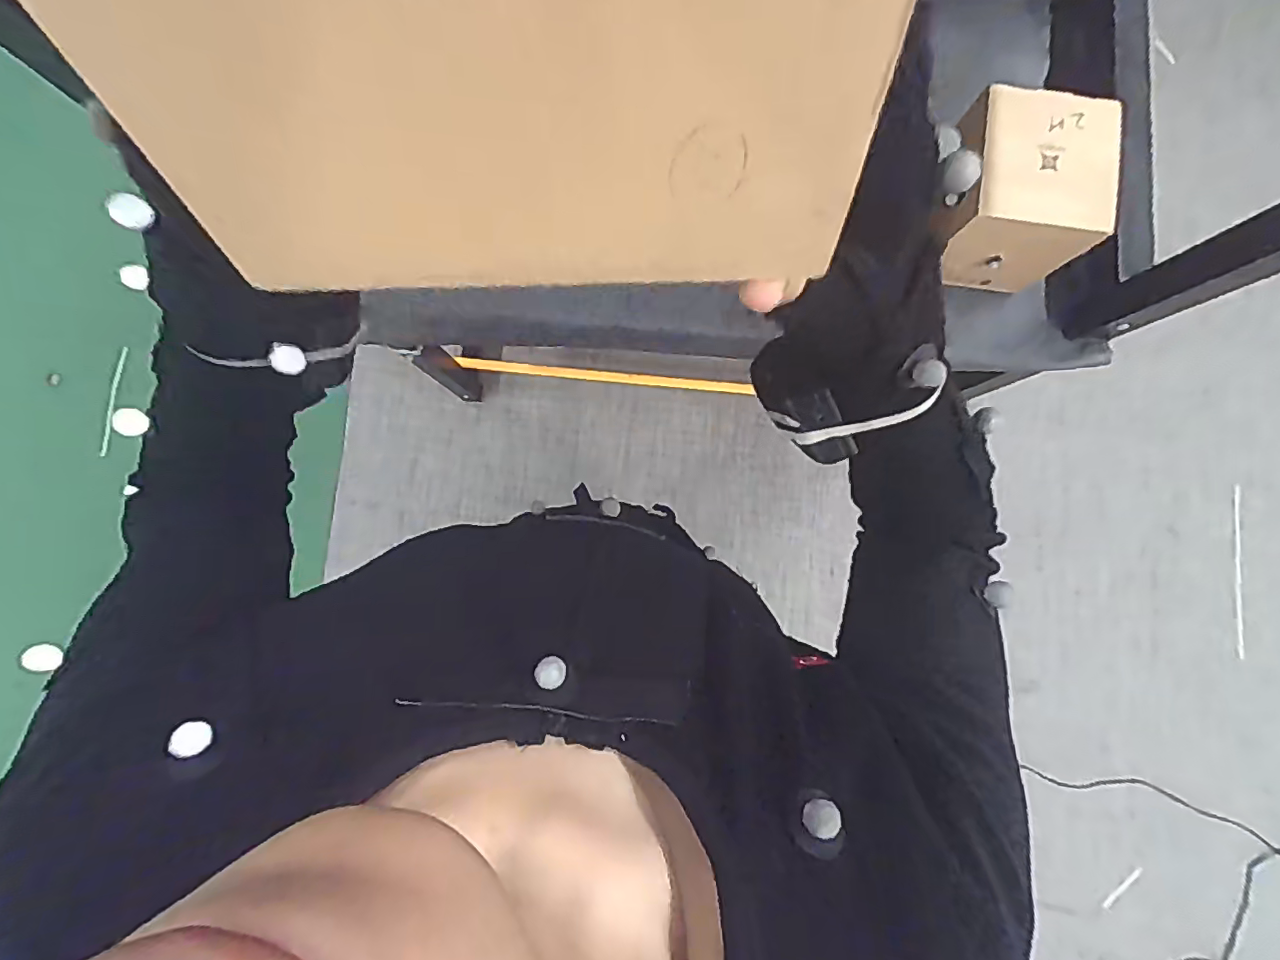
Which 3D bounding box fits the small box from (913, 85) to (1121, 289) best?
[{"bbox_3d":[0.496,-0.382,0.734,0.168,0.176,0.179,8,84,0],"label":"small box"}]
